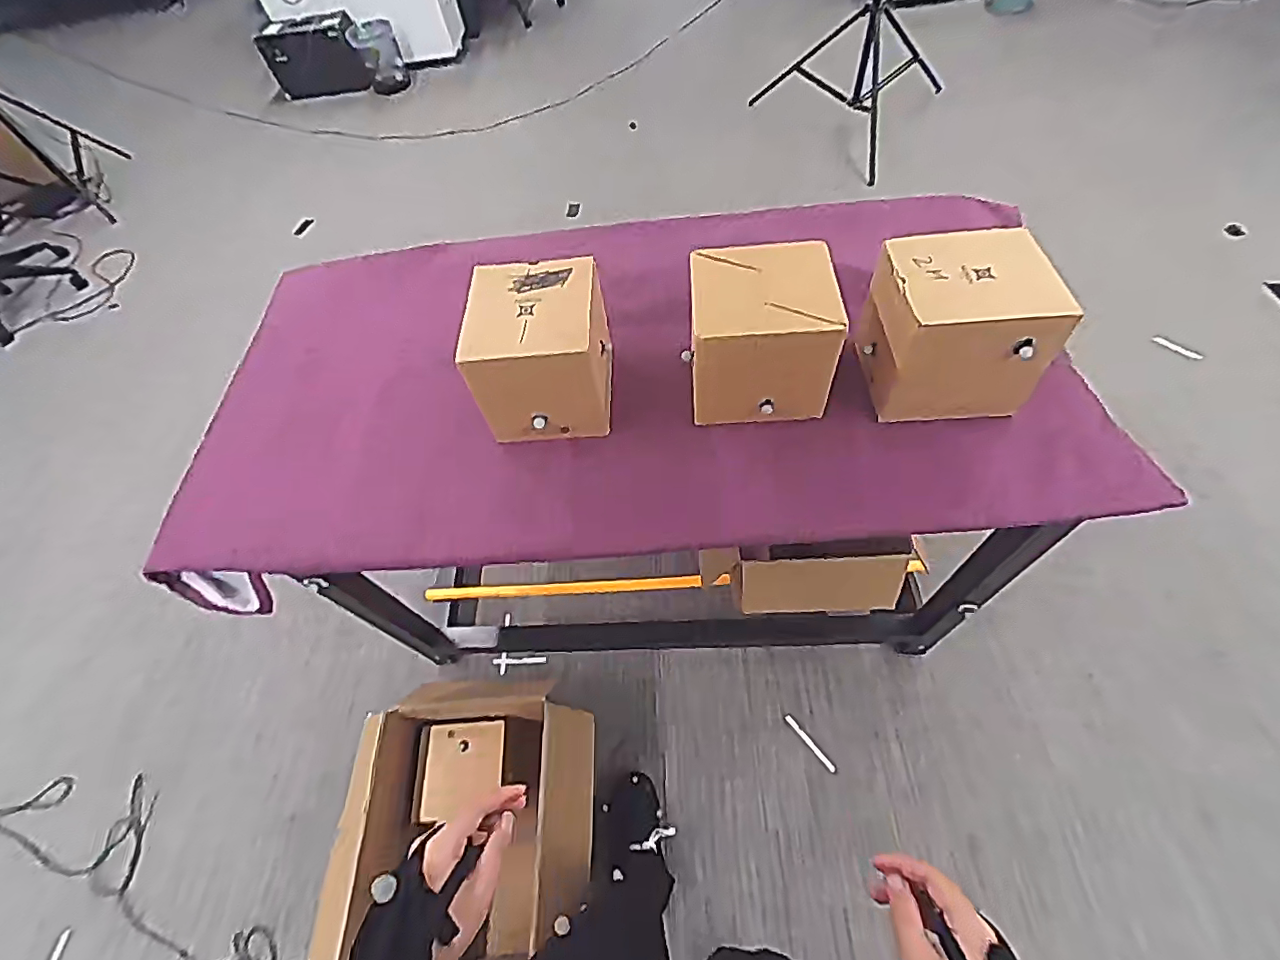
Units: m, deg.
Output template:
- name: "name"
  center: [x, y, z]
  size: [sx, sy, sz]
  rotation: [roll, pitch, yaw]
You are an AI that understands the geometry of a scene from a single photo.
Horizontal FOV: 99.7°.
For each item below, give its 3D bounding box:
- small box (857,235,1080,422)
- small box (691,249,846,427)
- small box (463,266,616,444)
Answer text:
- name: "small box"
  center: [0.405, -0.191, 0.705]
  size: [0.179, 0.176, 0.168]
  rotation: [-3, 55, 5]
- name: "small box"
  center: [0.160, -0.190, 0.733]
  size: [0.179, 0.176, 0.168]
  rotation: [-3, 56, 6]
- name: "small box"
  center: [-0.127, -0.170, 0.760]
  size: [0.168, 0.176, 0.179]
  rotation: [-4, 57, 5]
